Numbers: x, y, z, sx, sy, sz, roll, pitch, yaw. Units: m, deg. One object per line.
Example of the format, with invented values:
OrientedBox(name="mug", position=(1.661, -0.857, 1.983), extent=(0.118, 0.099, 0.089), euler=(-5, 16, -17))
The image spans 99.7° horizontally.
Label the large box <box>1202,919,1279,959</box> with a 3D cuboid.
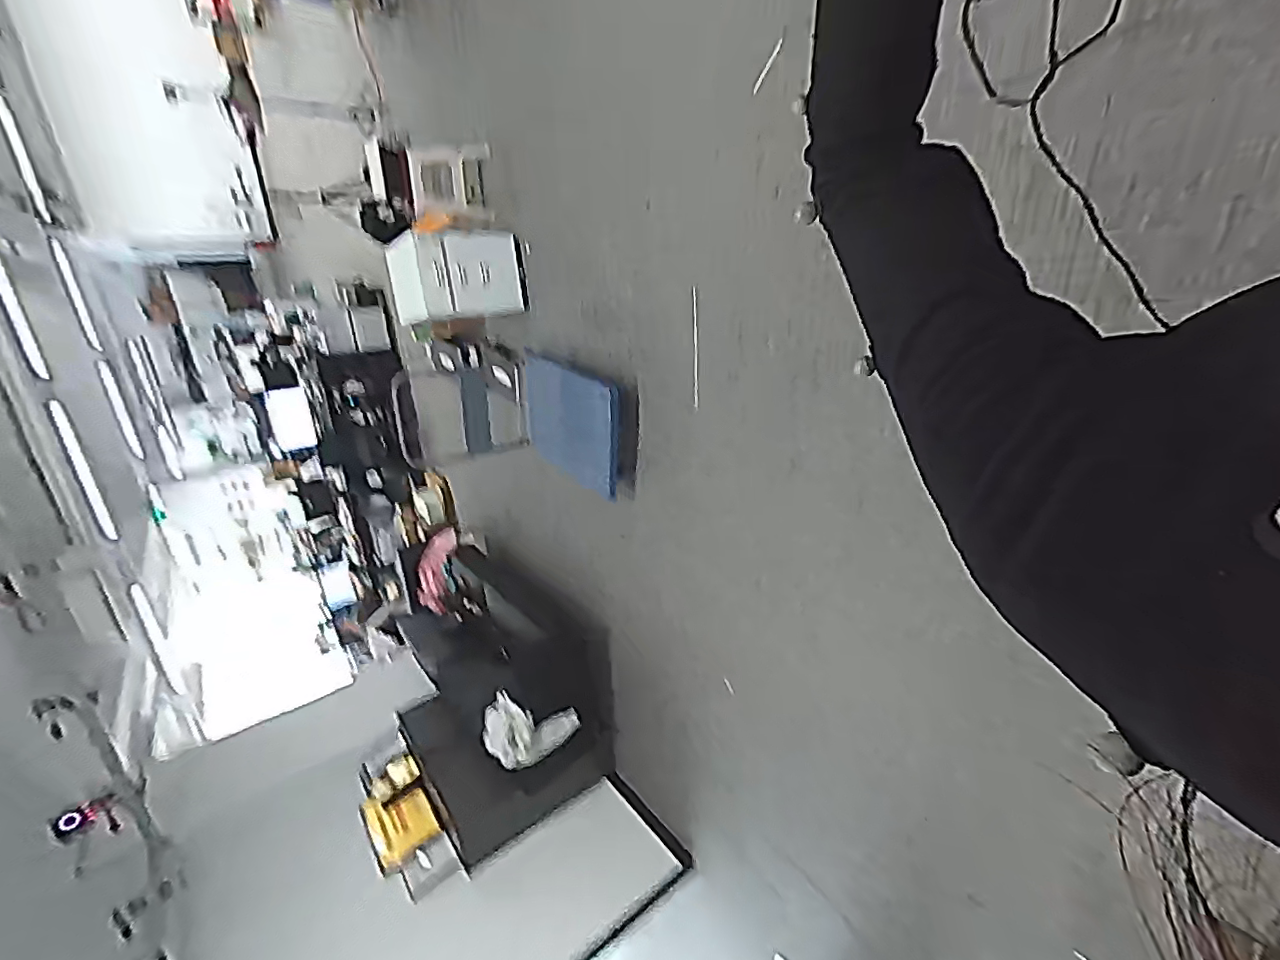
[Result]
OrientedBox(name="large box", position=(1.388, 1.245, 1.088), extent=(0.408, 0.320, 0.320), euler=(21, 121, 47))
